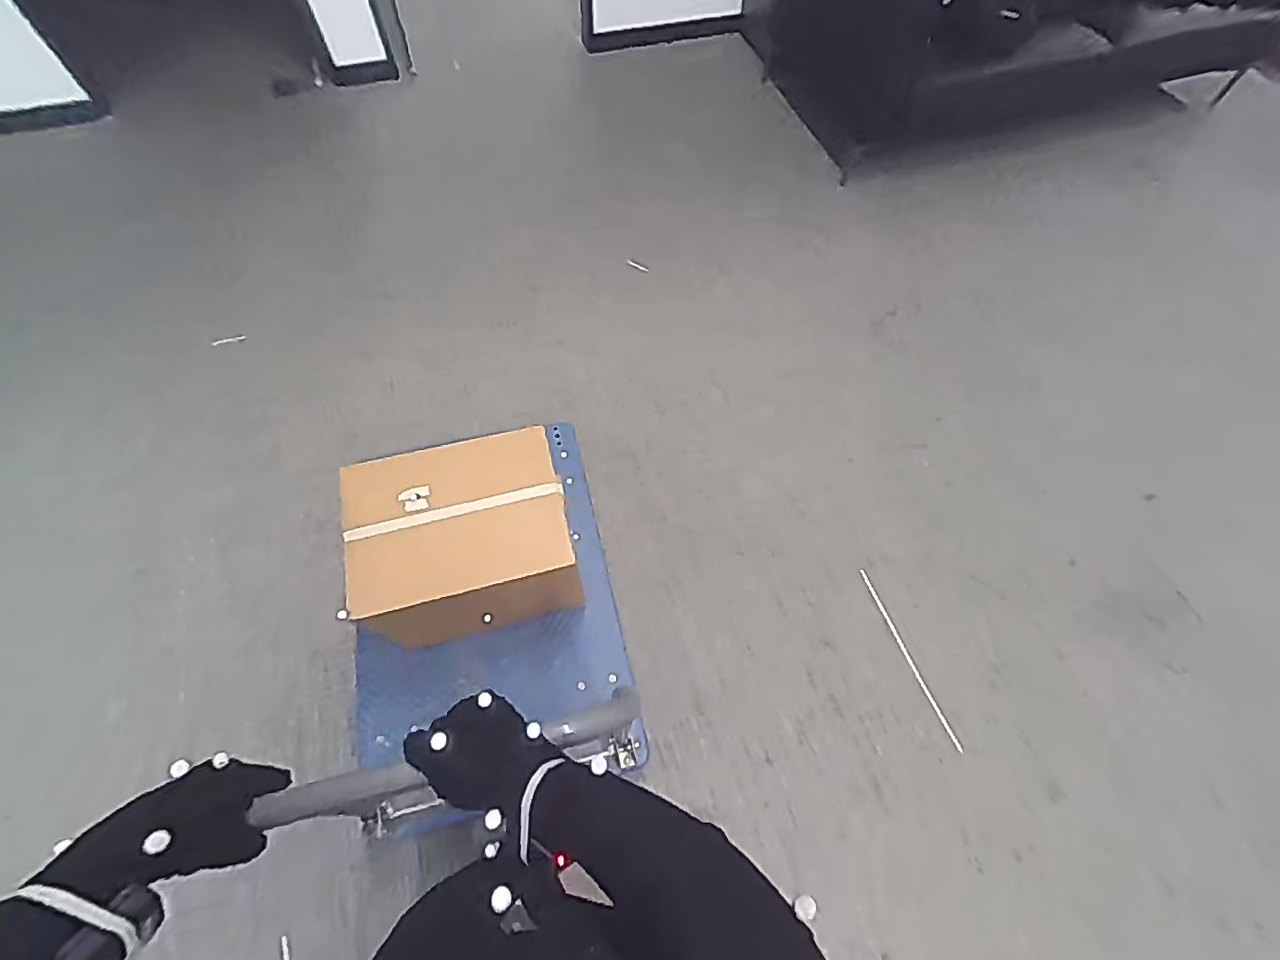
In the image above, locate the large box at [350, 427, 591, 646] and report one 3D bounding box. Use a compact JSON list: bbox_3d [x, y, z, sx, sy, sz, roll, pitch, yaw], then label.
[{"bbox_3d":[-0.343,0.133,1.165,0.408,0.320,0.320,-14,64,-8],"label":"large box"}]
